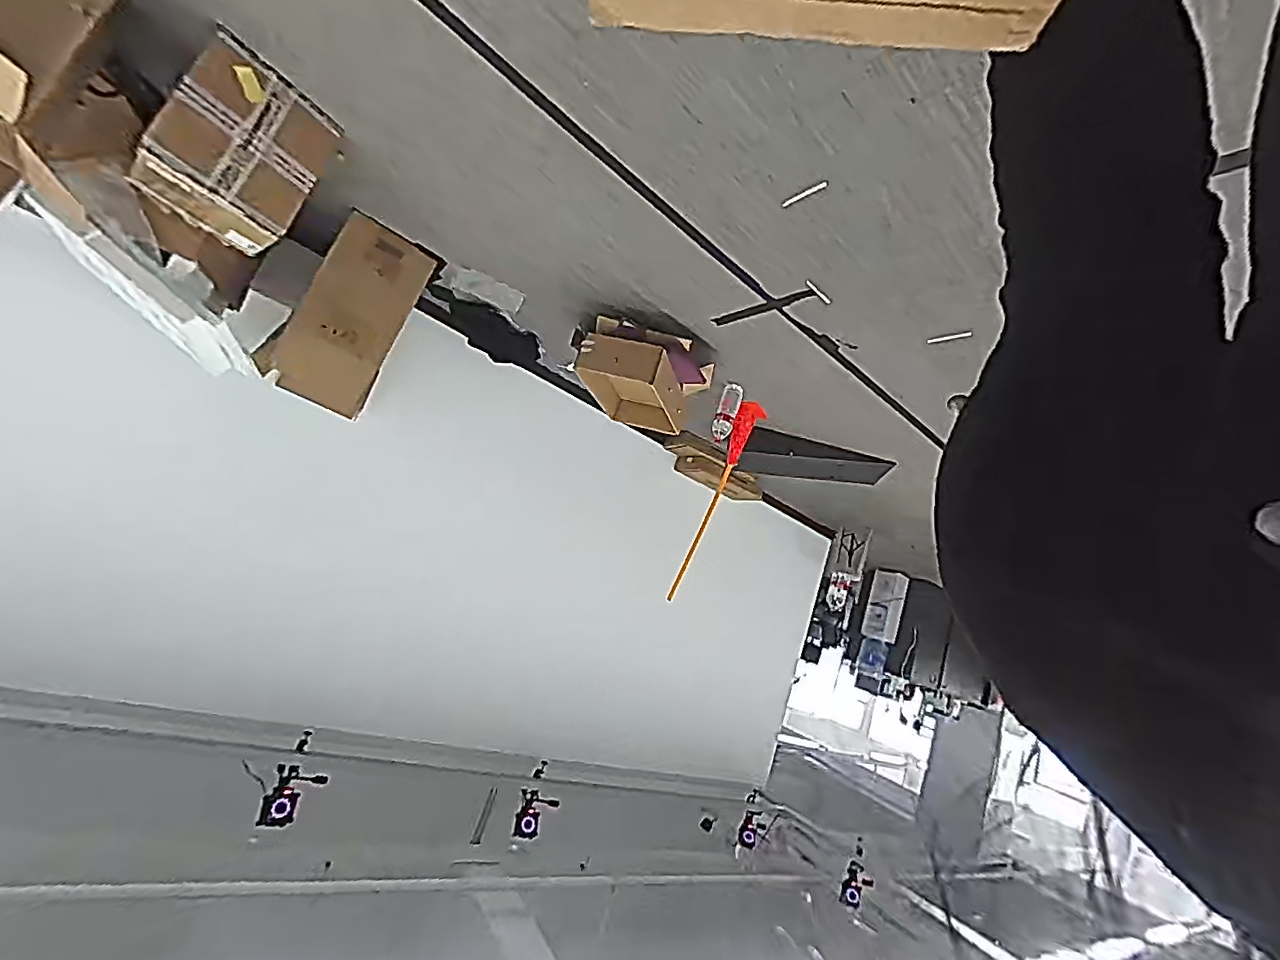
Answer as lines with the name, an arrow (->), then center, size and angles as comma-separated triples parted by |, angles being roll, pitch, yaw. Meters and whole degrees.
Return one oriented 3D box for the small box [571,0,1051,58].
small box -> 0.067, -0.266, 0.143 | 0.179, 0.176, 0.168 | 8, 171, 4
